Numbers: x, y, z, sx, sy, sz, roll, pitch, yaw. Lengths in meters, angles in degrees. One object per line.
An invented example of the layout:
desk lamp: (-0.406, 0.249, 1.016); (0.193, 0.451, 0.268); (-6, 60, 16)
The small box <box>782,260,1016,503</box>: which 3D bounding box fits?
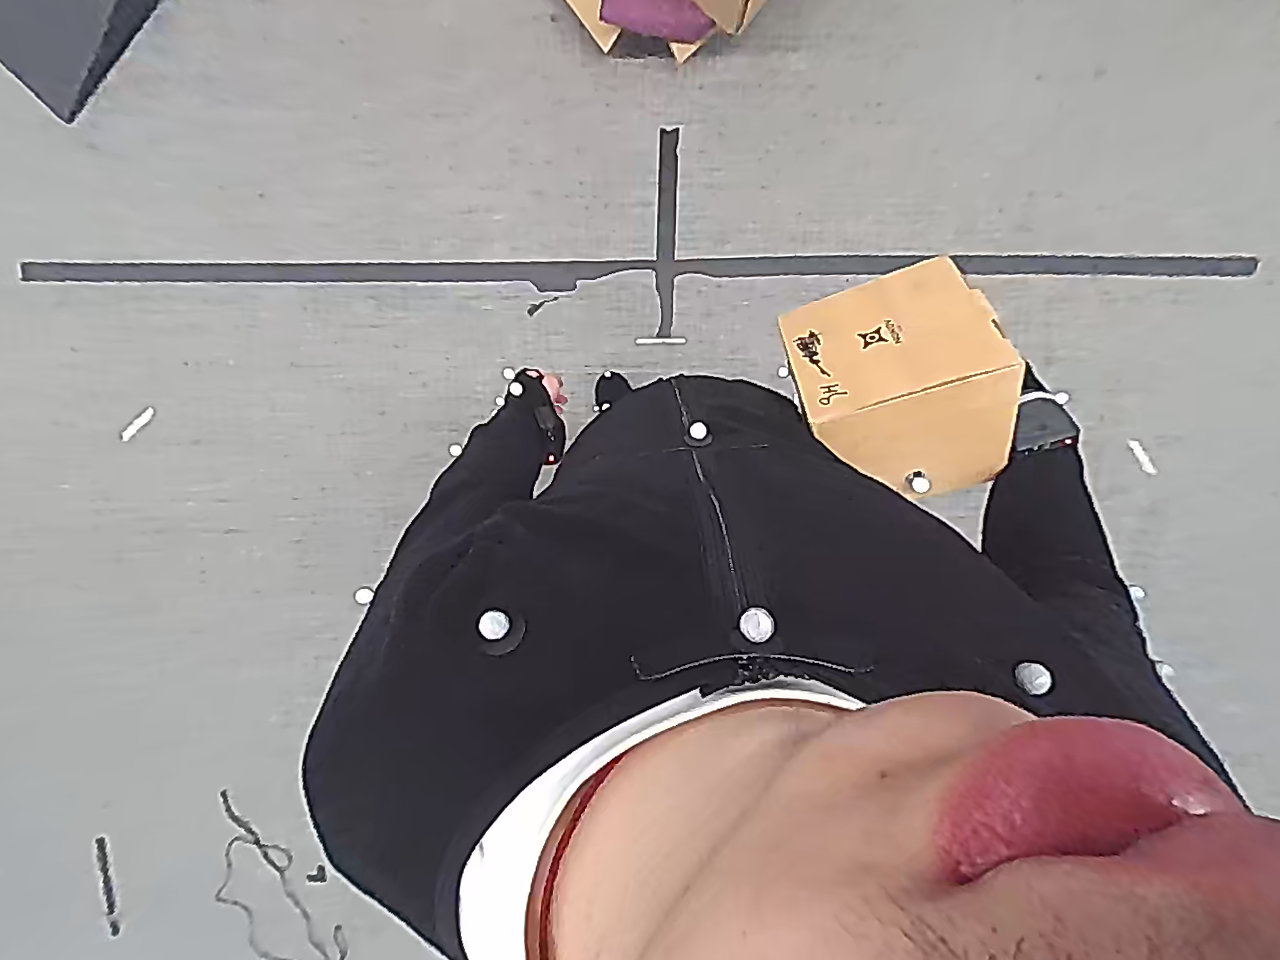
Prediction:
small box: (0.269, -0.098, 0.592); (0.179, 0.168, 0.176); (-15, 139, 16)
